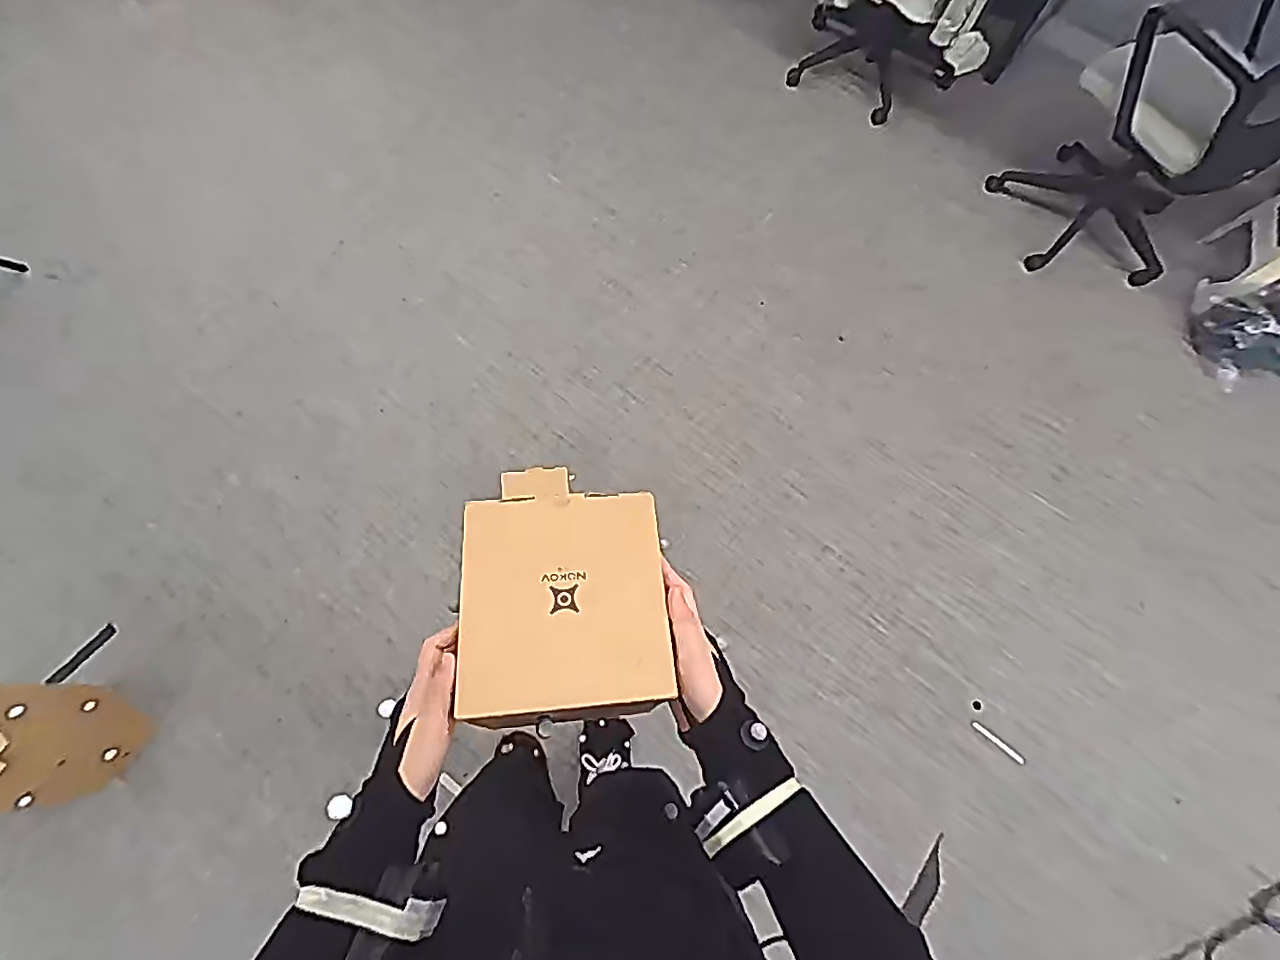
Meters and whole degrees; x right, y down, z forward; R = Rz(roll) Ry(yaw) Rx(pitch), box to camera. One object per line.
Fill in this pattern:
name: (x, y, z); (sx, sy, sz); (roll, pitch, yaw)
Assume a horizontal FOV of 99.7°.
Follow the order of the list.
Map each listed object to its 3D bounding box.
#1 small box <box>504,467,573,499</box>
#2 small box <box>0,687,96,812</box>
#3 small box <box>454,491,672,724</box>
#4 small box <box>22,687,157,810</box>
small box: (-0.253, 0.082, 1.395); (0.168, 0.176, 0.179); (-6, 70, -6)
small box: (-1.207, 0.504, 1.013); (0.179, 0.176, 0.168); (34, 71, 10)
small box: (-0.069, 0.127, 0.508); (0.168, 0.176, 0.179); (-3, 62, -7)
small box: (-1.219, 0.564, 1.166); (0.179, 0.176, 0.168); (33, 71, 10)
